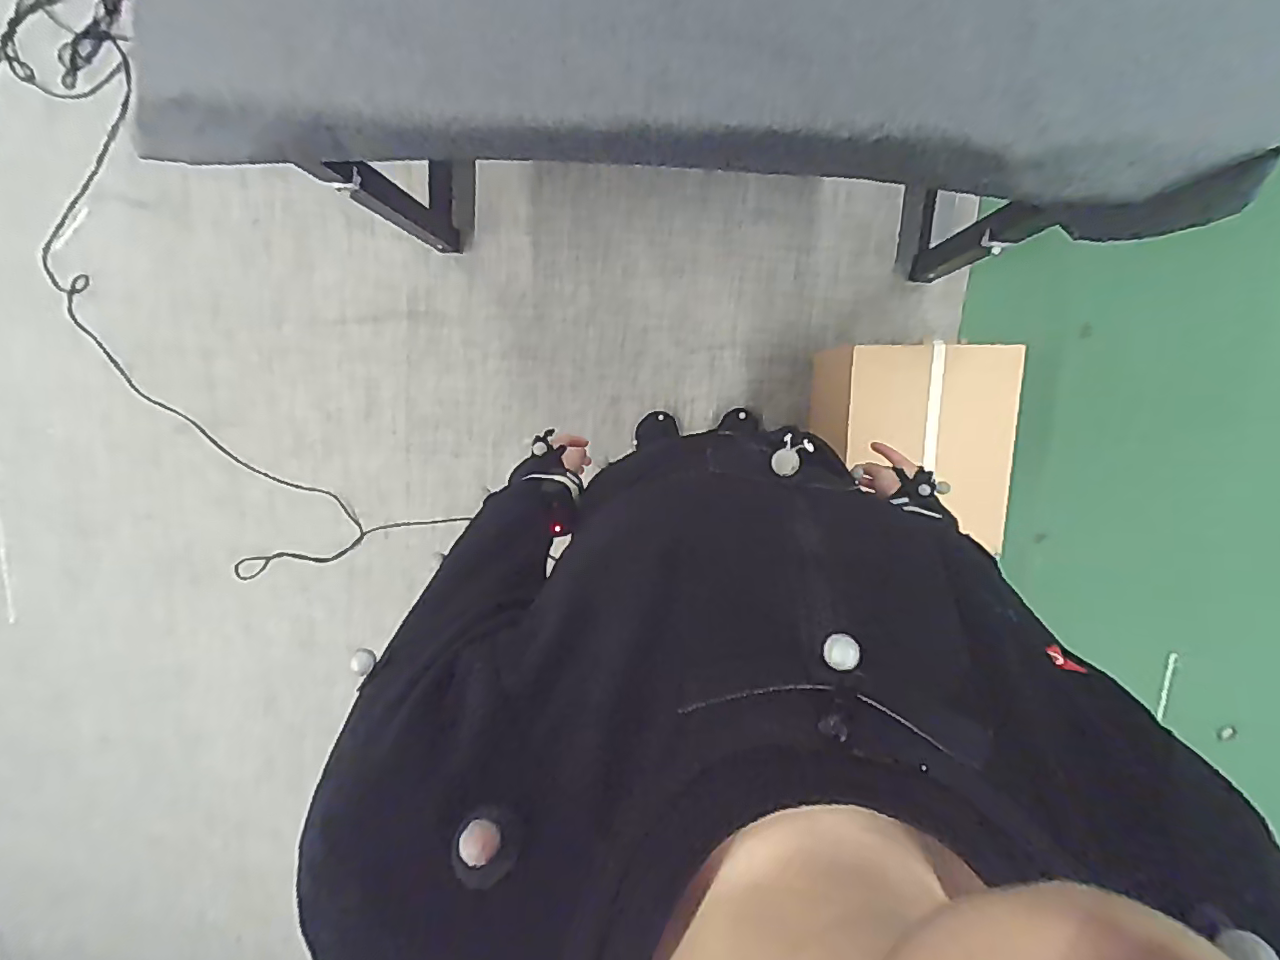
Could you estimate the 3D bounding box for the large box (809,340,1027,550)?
[{"bbox_3d":[0.563,-0.086,1.170,0.320,0.320,0.408,1,100,4],"label":"large box"}]
